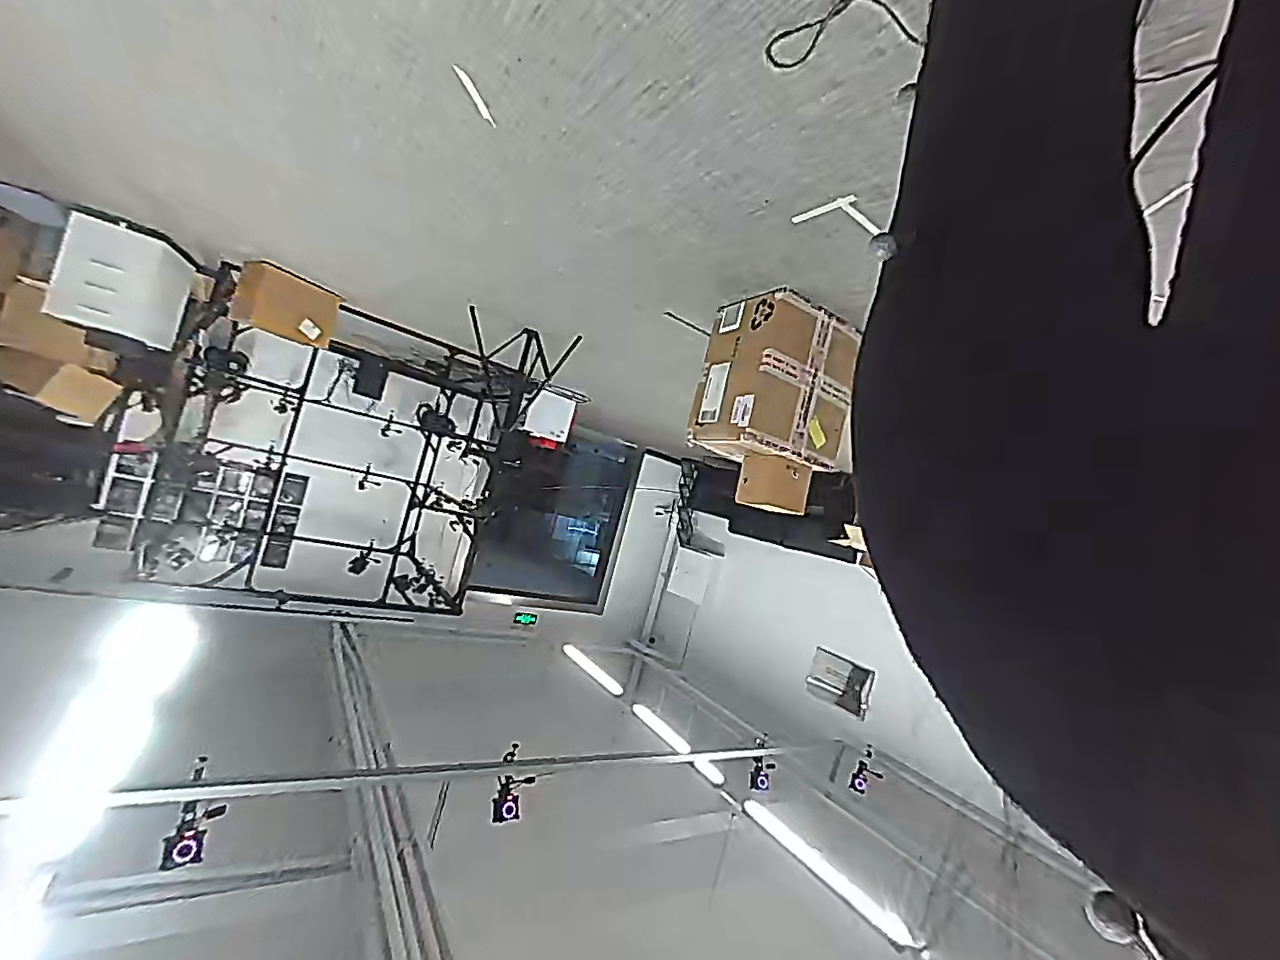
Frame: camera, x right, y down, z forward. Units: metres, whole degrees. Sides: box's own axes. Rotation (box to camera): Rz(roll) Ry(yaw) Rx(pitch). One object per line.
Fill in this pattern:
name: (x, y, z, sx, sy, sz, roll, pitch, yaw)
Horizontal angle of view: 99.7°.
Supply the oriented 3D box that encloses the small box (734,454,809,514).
small box: (0.451, 0.012, 1.844, 0.168, 0.176, 0.179, 14, 174, -23)
